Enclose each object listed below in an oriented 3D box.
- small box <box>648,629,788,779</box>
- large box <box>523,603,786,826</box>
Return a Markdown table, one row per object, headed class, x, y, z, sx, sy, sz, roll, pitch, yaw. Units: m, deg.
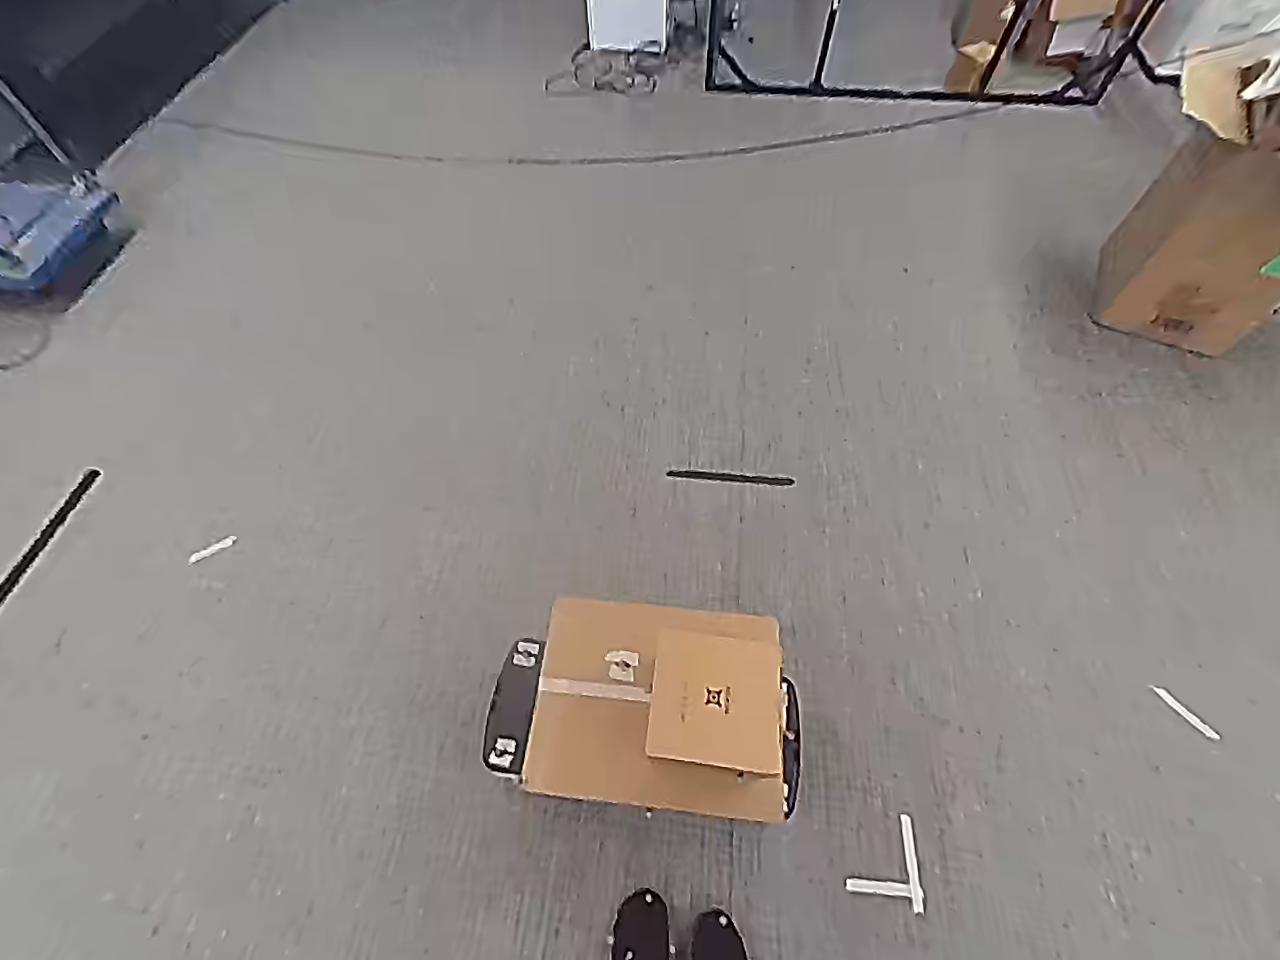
| class | x | y | z | sx | sy | sz | roll | pitch | yaw |
| --- | --- | --- | --- | --- | --- | --- | --- | --- | --- |
| small box | 0.110 | 0.330 | 0.789 | 0.179 | 0.176 | 0.168 | 6 | 60 | 6 |
| large box | 0.040 | 0.440 | 1.012 | 0.408 | 0.320 | 0.320 | 4 | 58 | 5 |
